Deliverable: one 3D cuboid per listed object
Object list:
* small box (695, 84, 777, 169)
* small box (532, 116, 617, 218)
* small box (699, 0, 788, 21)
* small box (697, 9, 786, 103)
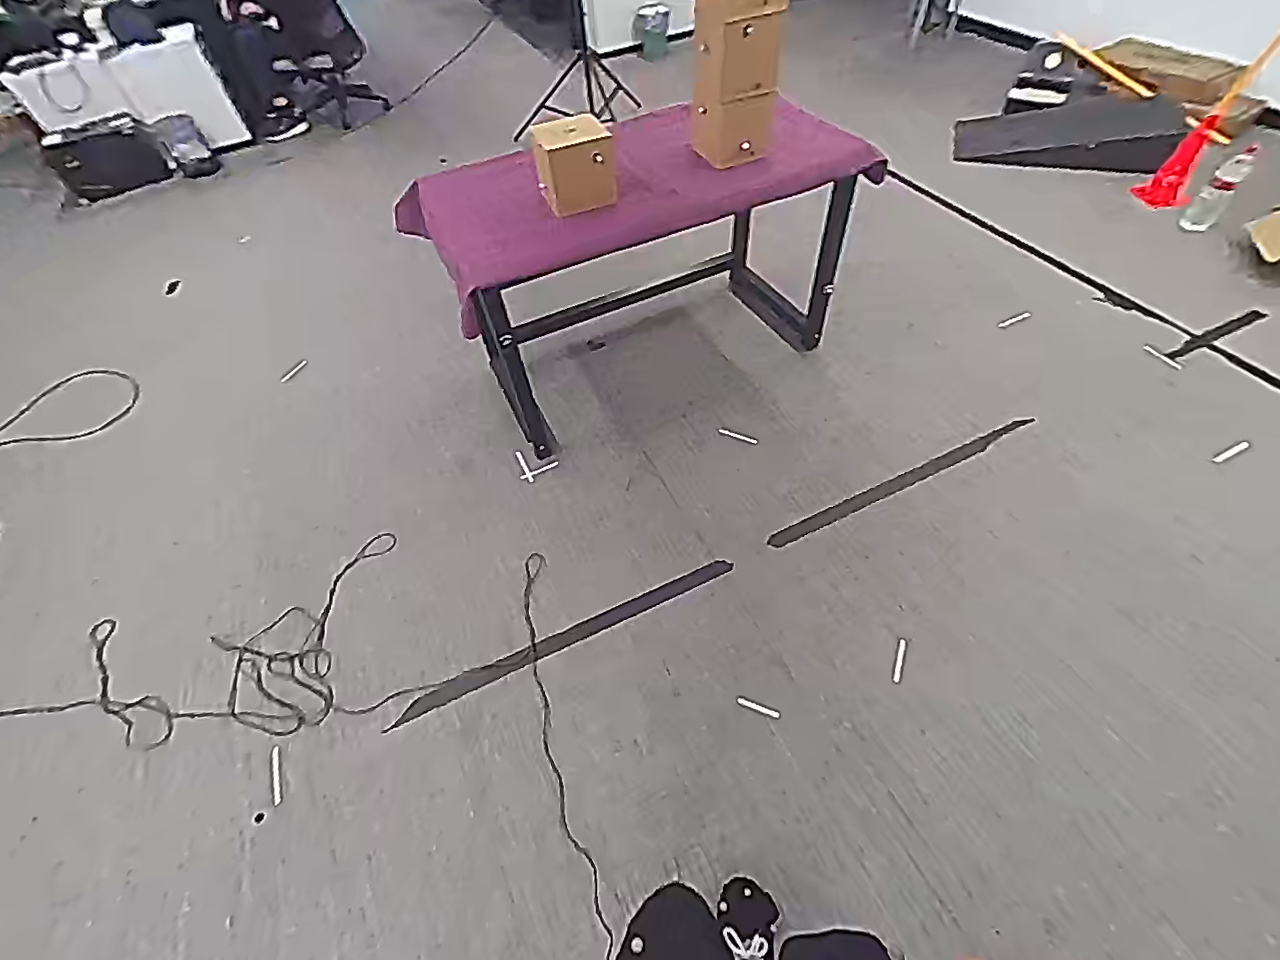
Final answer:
[{"bbox_3d":[0.263,-1.012,1.529,0.168,0.176,0.179,-21,55,-10],"label":"small box"},{"bbox_3d":[-0.166,-0.827,1.432,0.179,0.176,0.168,-21,54,-9],"label":"small box"},{"bbox_3d":[0.243,-1.198,1.260,0.168,0.176,0.179,-20,54,-8],"label":"small box"},{"bbox_3d":[0.252,-1.106,1.395,0.168,0.176,0.179,-20,54,-8],"label":"small box"}]
